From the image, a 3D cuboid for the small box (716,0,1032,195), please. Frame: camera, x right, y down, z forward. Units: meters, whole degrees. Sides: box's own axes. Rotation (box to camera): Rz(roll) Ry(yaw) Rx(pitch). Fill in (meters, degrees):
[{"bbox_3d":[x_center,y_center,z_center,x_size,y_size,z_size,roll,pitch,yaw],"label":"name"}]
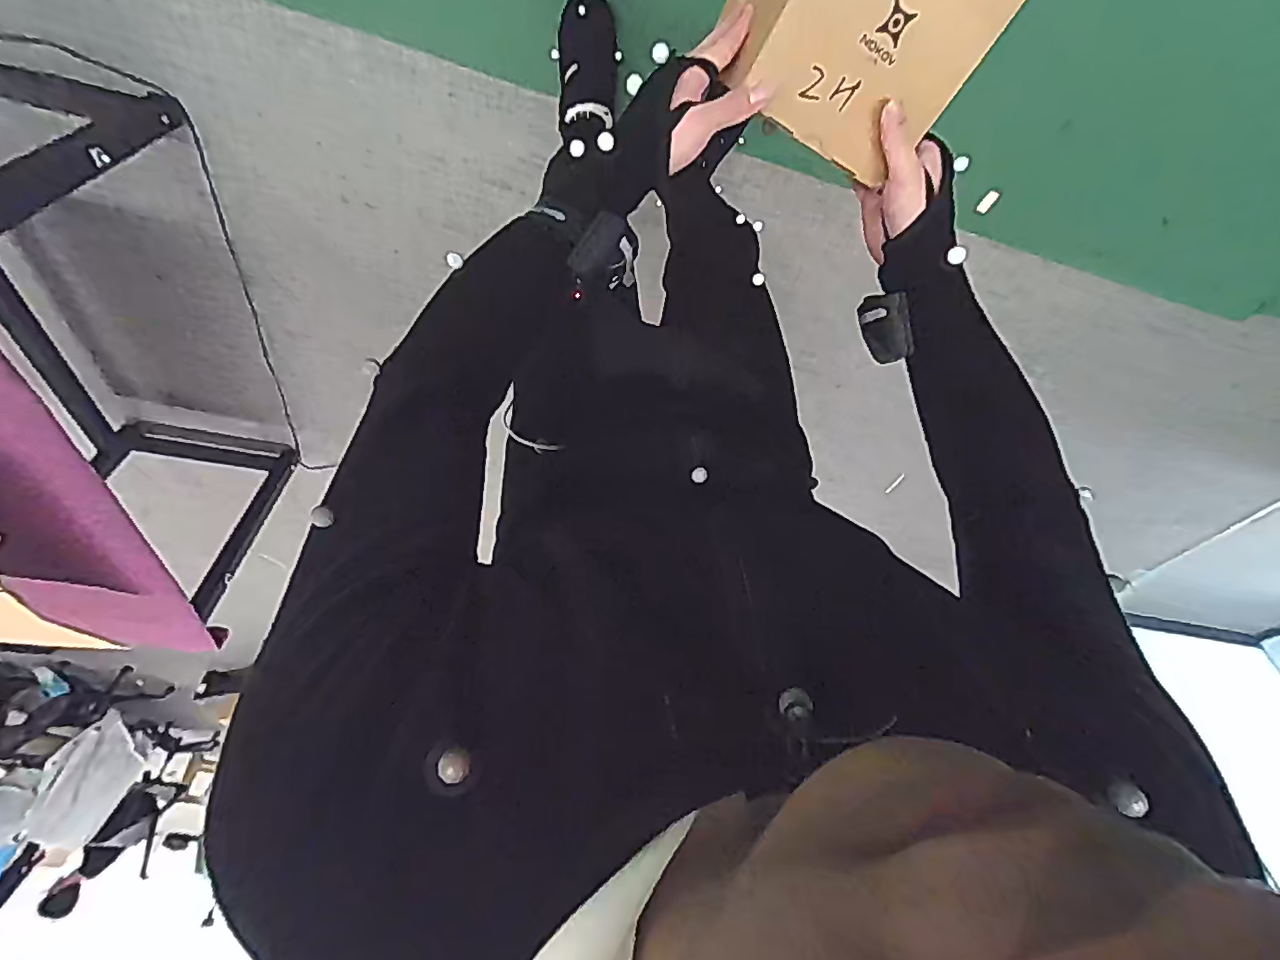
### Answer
[{"bbox_3d":[0.186,-0.399,0.473,0.168,0.176,0.179,17,131,-23],"label":"small box"}]
